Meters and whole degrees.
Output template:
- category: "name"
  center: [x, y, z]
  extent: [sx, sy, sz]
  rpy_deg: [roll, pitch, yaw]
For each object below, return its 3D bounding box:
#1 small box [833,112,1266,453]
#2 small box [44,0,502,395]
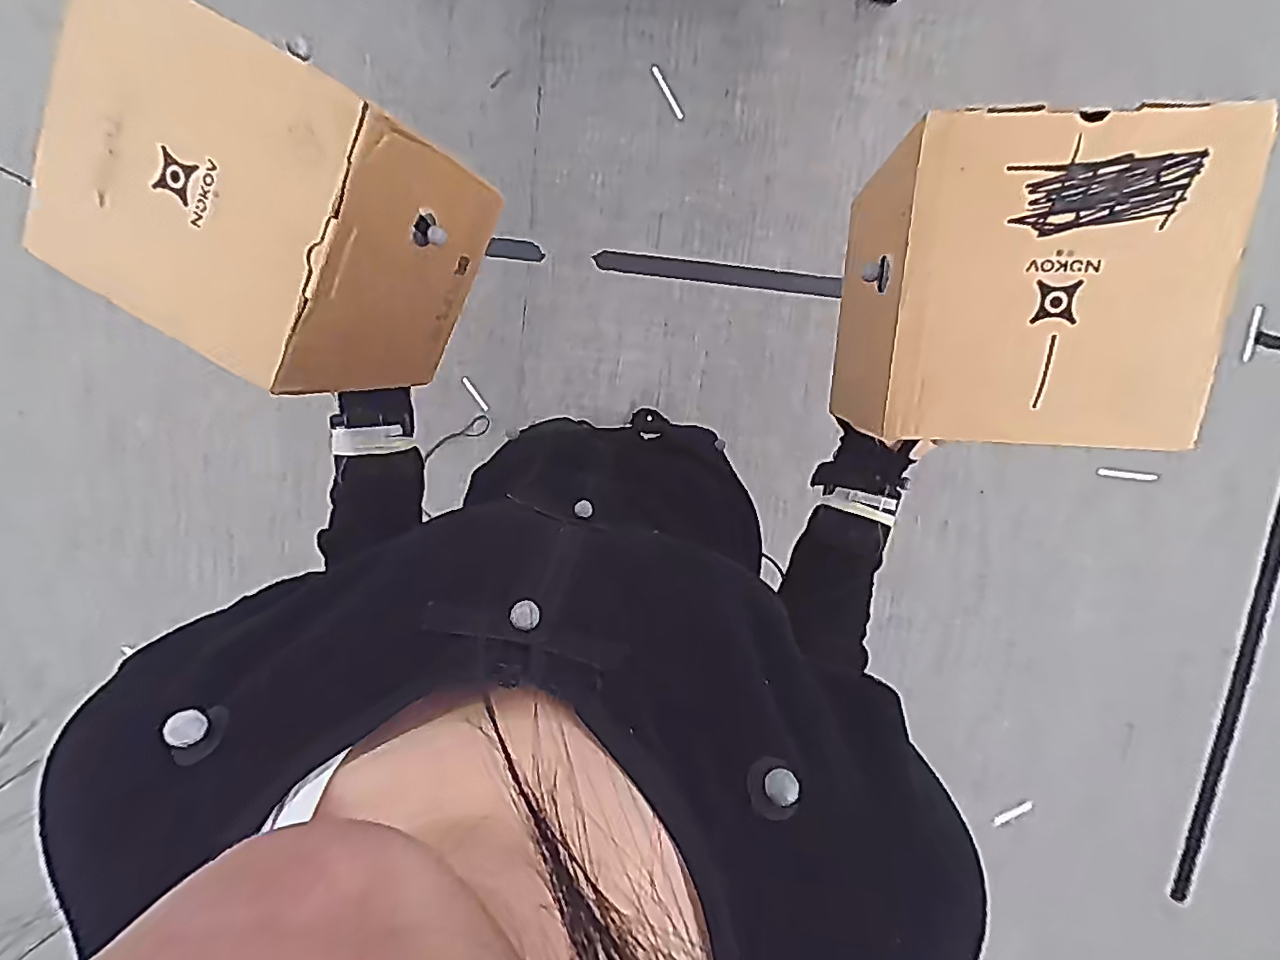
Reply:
- category: "small box"
  center: [0.242, -0.122, 0.376]
  extent: [0.168, 0.176, 0.179]
  rpy_deg: [4, 103, 8]
- category: "small box"
  center: [-0.223, -0.175, 0.369]
  extent: [0.179, 0.176, 0.168]
  rpy_deg: [30, 104, 3]
